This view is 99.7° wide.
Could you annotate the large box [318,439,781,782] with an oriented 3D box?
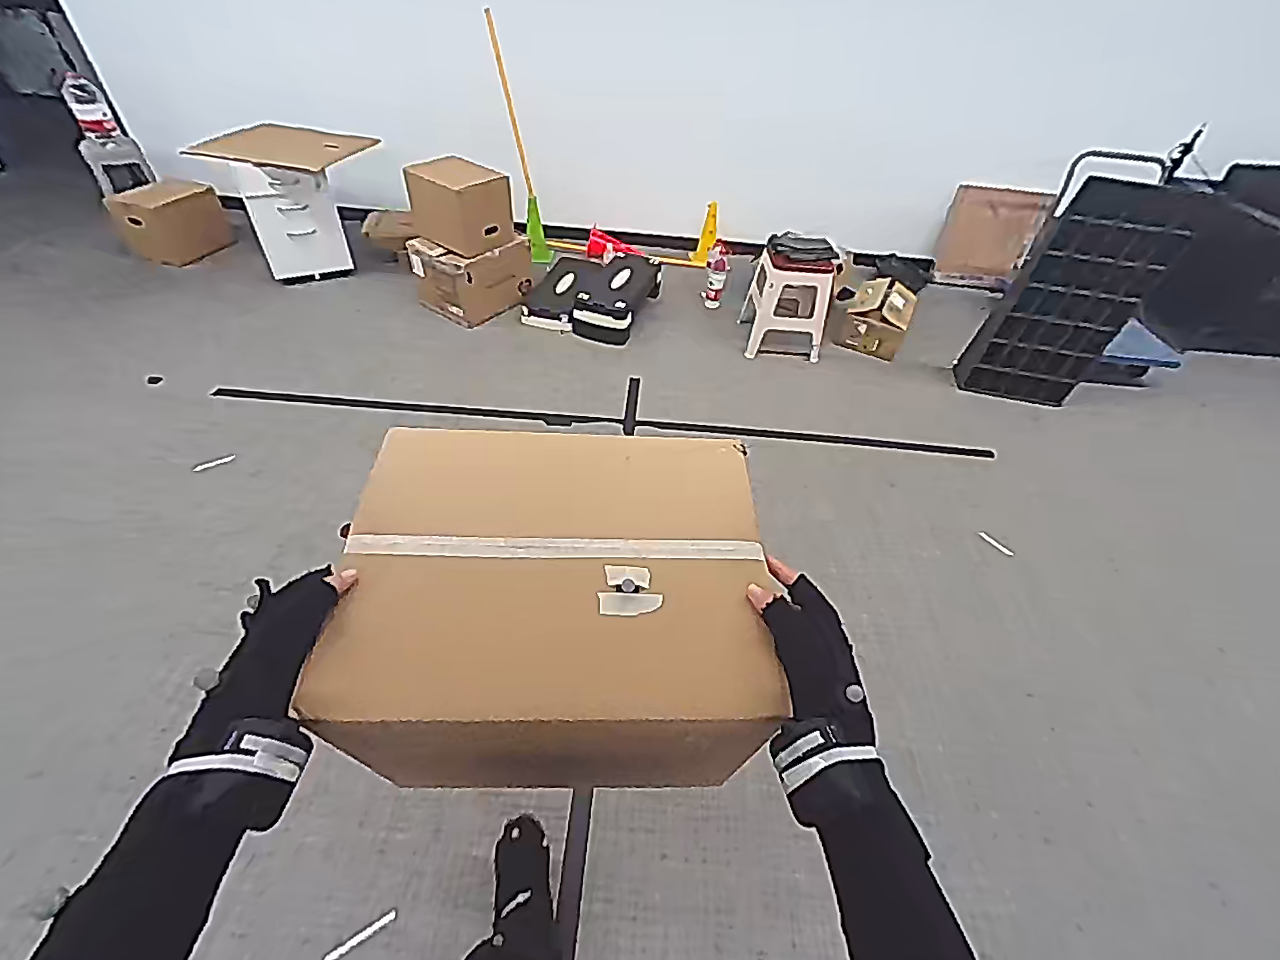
[{"bbox_3d":[-0.089,0.168,0.668,0.408,0.320,0.320,2,52,-4],"label":"large box"}]
